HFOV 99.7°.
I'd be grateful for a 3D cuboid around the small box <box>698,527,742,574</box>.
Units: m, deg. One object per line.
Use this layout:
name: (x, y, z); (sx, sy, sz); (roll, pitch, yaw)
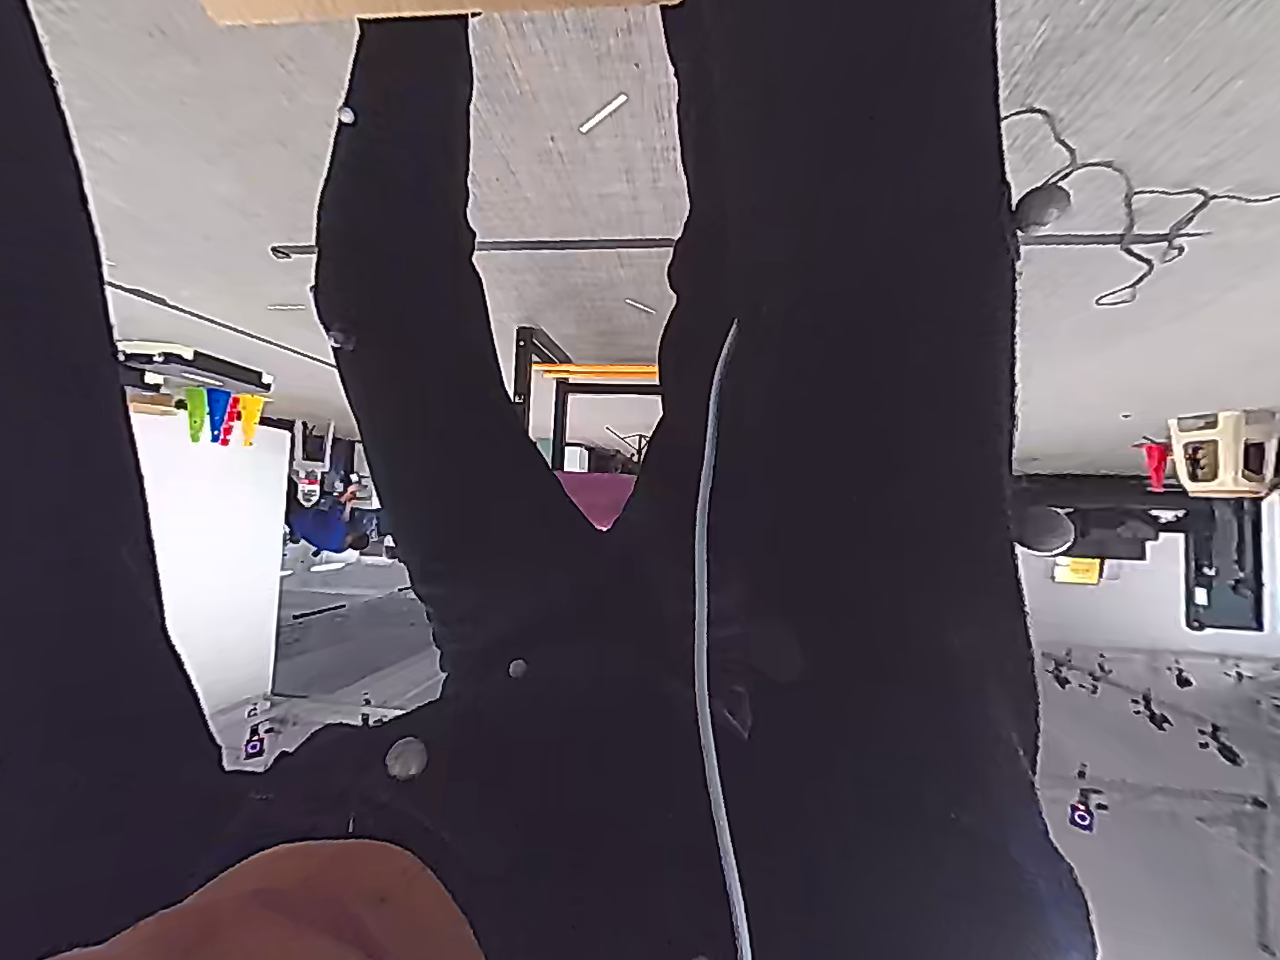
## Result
small box: (0.311, 0.270, 2.112); (0.168, 0.176, 0.179); (3, 178, 8)
